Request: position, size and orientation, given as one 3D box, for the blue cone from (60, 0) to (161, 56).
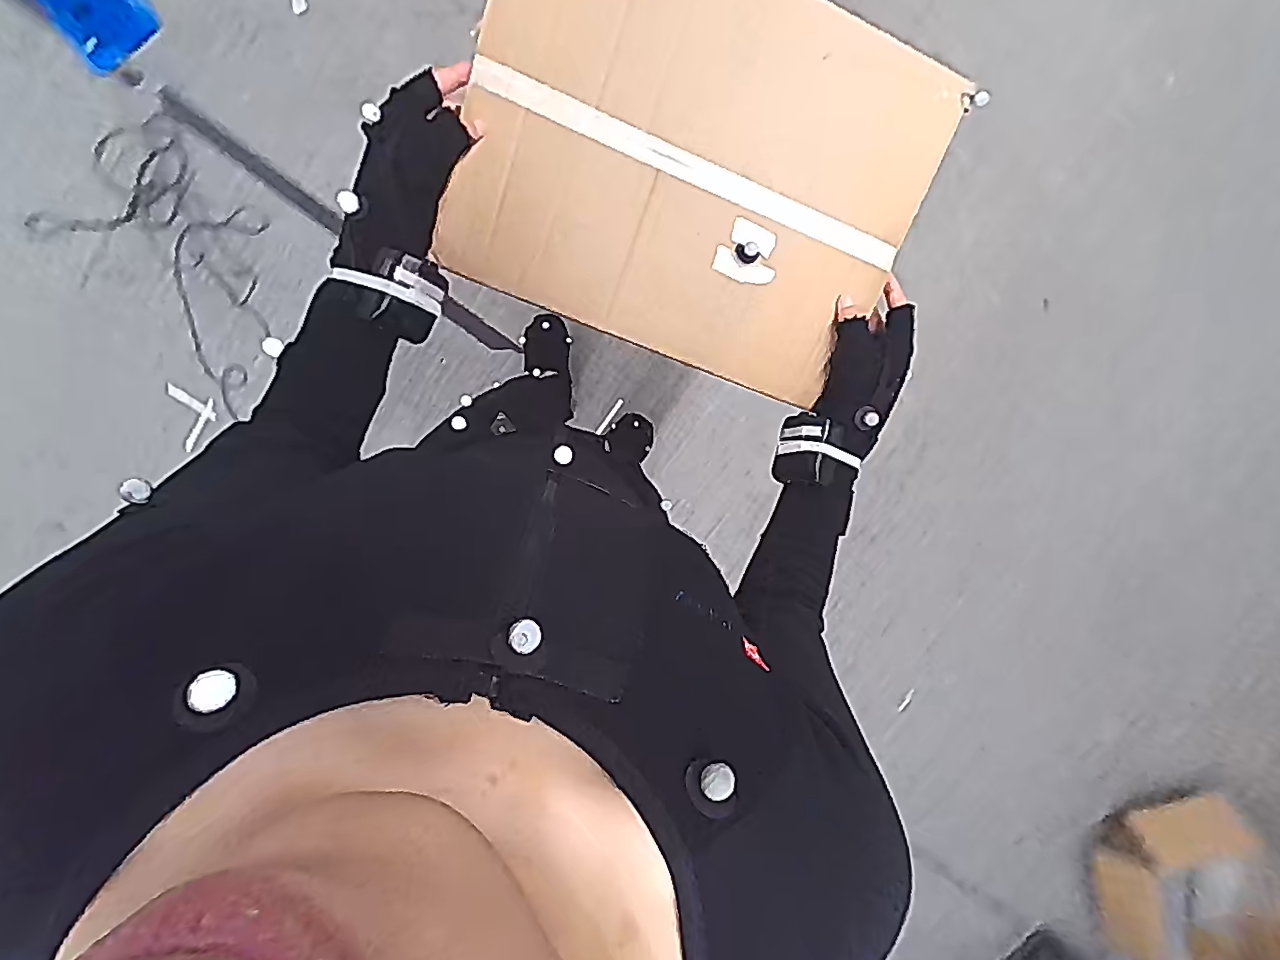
[{"bbox_3d":[-1.221,-1.075,1.088,0.193,0.380,0.192,-32,100,5],"label":"blue cone"}]
